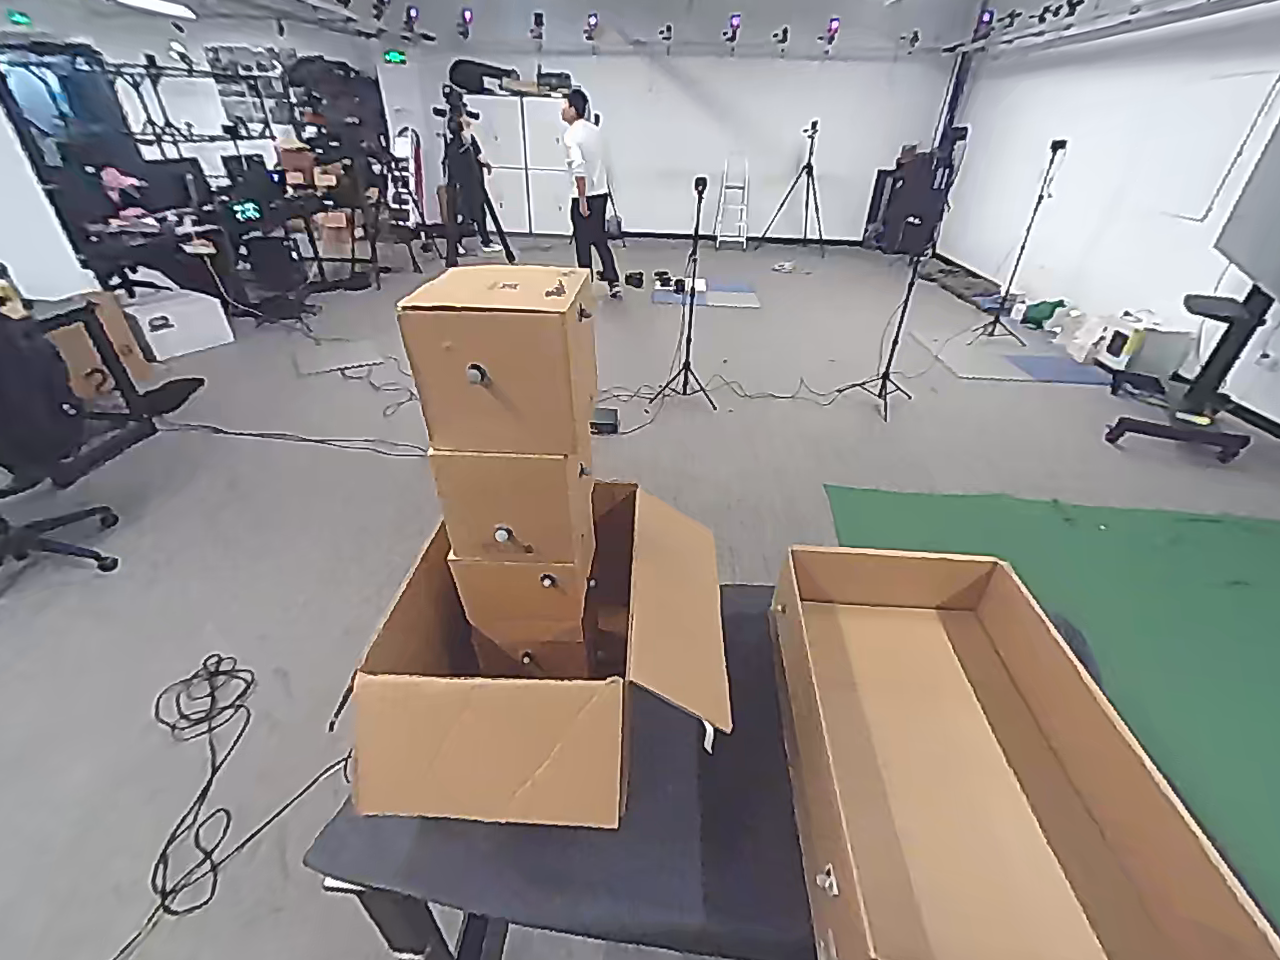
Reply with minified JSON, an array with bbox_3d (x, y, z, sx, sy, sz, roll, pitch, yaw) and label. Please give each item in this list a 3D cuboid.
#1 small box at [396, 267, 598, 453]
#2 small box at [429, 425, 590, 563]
[{"bbox_3d":[-0.151,-0.144,0.642,0.179,0.176,0.168,2,36,4],"label":"small box"},{"bbox_3d":[-0.161,-0.011,0.738,0.168,0.176,0.179,2,37,3],"label":"small box"}]
